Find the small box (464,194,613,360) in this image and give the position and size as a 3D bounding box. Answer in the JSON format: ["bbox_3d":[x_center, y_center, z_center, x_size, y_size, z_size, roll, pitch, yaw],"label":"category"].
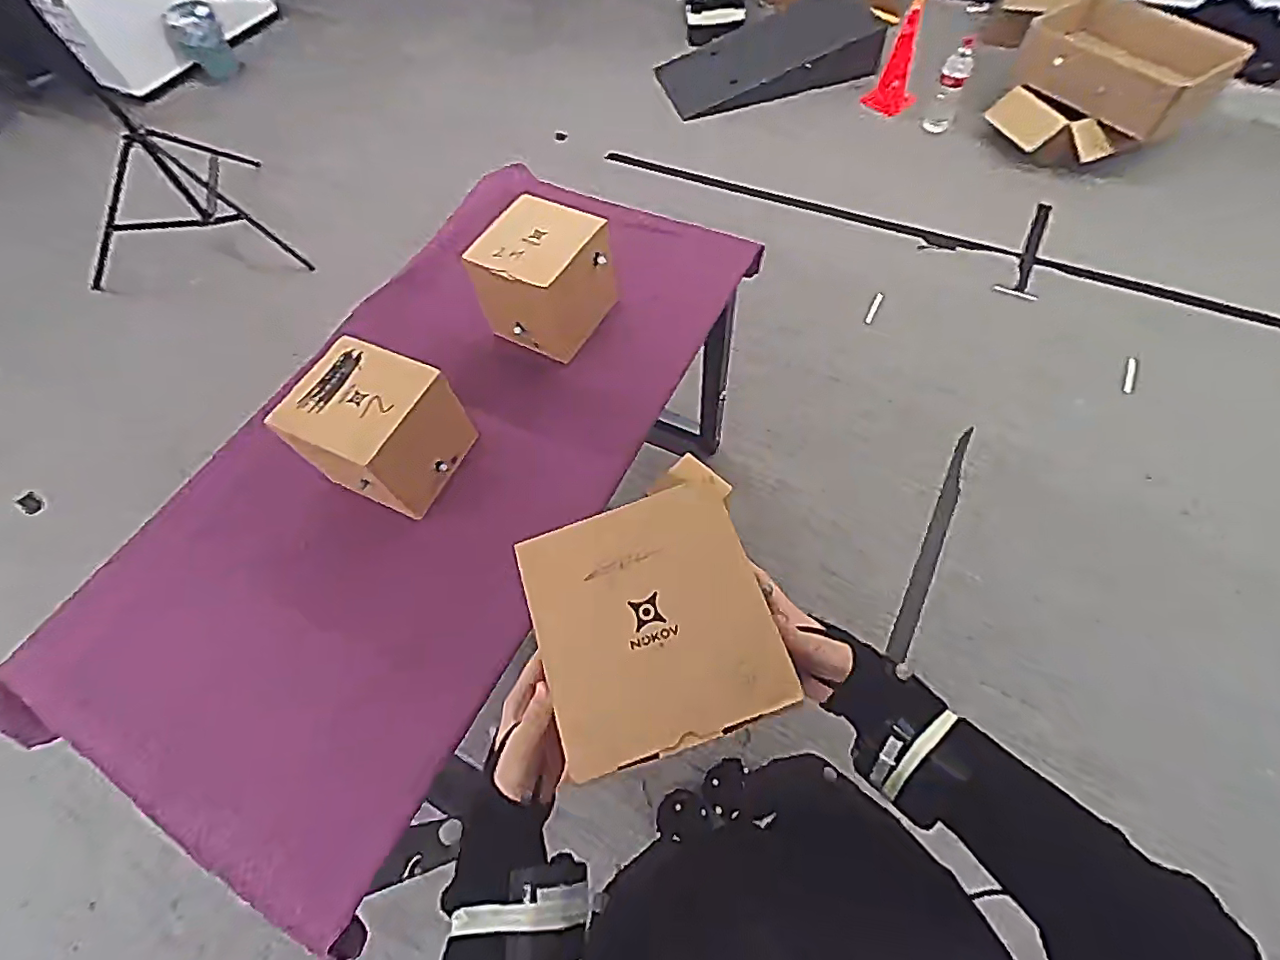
[{"bbox_3d":[-0.158,-0.339,0.915,0.168,0.176,0.179,25,67,17],"label":"small box"}]

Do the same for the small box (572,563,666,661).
[{"bbox_3d":[-0.047,0.342,1.371,0.179,0.176,0.168,23,66,15],"label":"small box"}]

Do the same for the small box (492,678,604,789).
[{"bbox_3d":[-0.204,0.589,1.252,0.179,0.176,0.168,24,66,17],"label":"small box"}]

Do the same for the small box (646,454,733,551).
[{"bbox_3d":[0.135,0.066,1.507,0.168,0.176,0.179,41,73,21],"label":"small box"}]
